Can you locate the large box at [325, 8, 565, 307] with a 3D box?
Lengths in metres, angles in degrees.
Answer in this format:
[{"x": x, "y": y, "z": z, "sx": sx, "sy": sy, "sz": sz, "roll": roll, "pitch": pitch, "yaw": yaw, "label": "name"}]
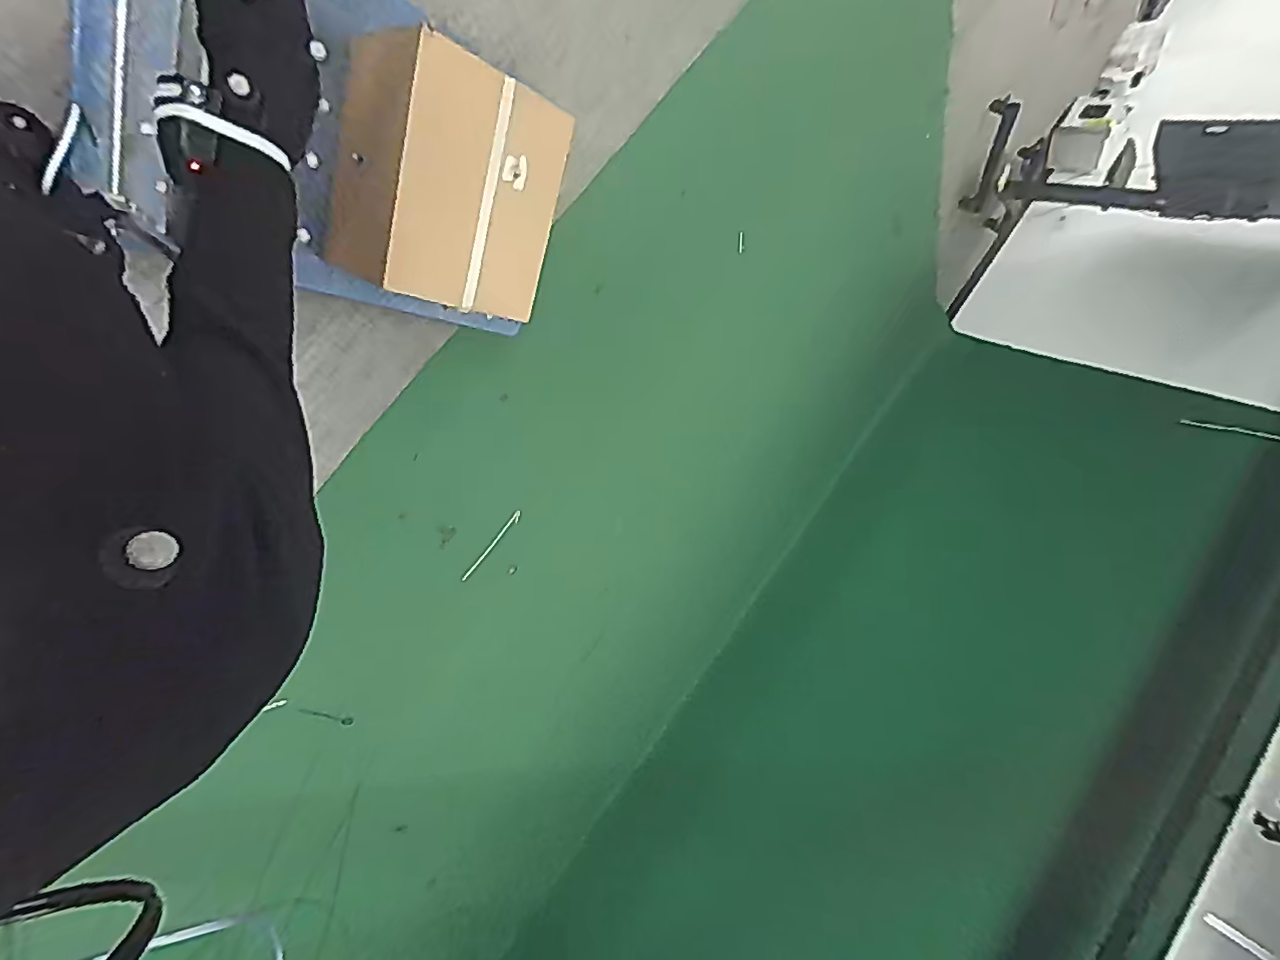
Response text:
[{"x": -0.401, "y": -0.603, "z": 1.082, "sx": 0.320, "sy": 0.320, "sz": 0.408, "roll": -3, "pitch": 116, "yaw": -49, "label": "large box"}]
